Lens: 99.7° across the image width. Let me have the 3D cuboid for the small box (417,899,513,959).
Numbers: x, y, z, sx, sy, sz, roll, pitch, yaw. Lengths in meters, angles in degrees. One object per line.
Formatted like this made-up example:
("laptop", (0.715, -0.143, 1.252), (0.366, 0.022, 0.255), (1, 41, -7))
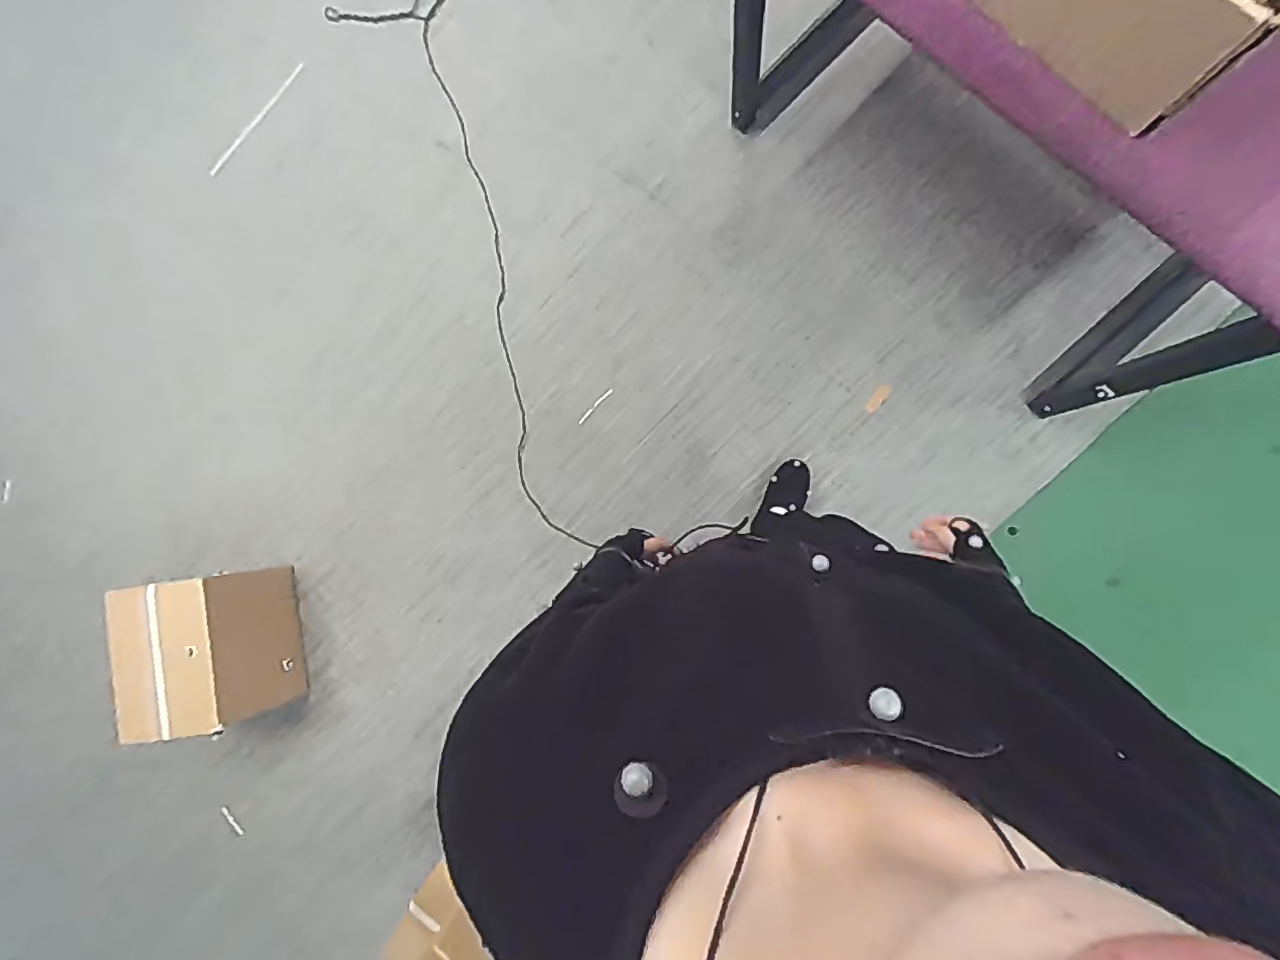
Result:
("small box", (-0.395, 1.063, 1.154), (0.168, 0.176, 0.179), (38, 92, 9))
